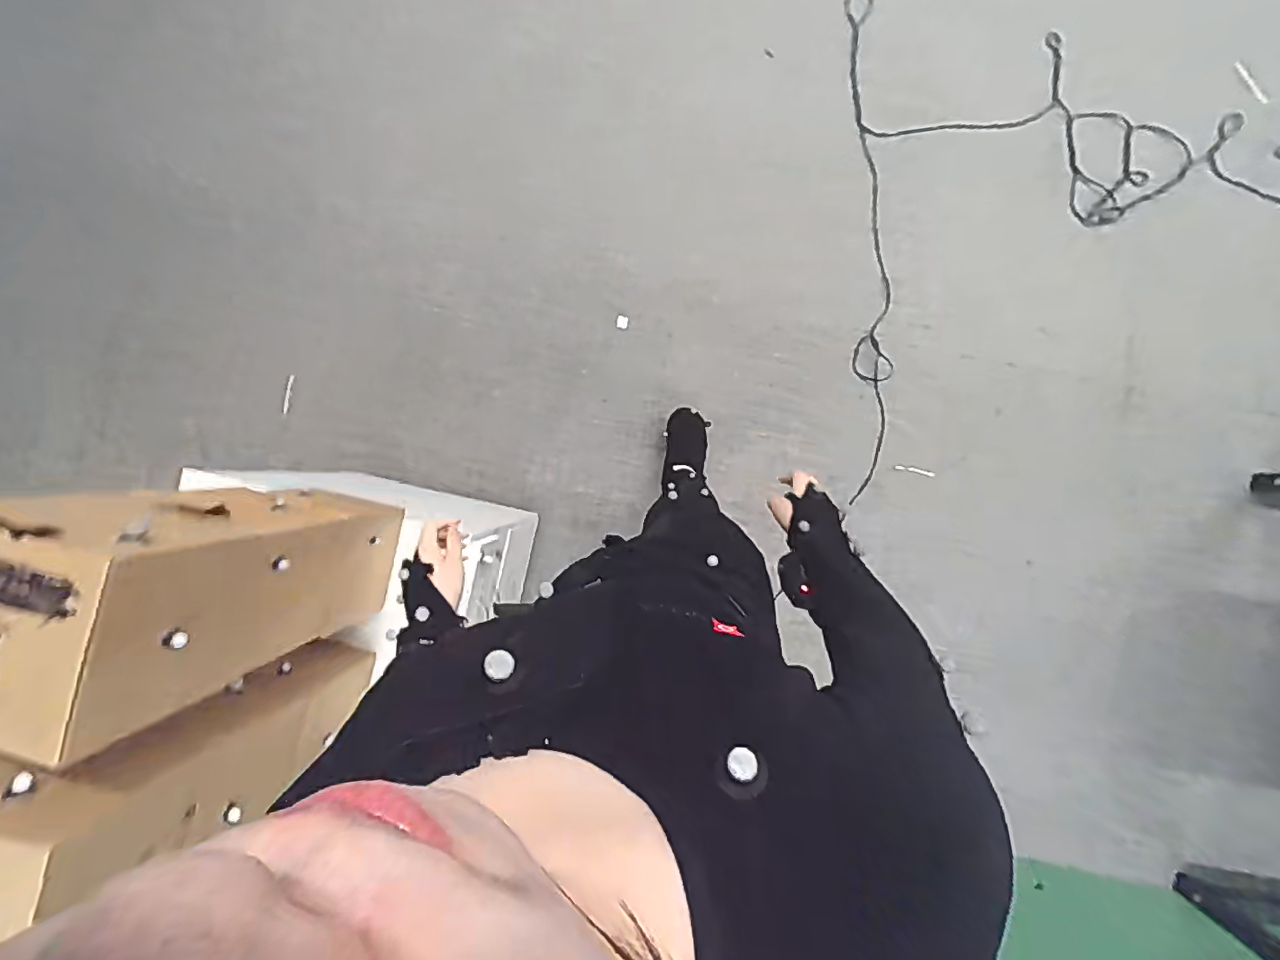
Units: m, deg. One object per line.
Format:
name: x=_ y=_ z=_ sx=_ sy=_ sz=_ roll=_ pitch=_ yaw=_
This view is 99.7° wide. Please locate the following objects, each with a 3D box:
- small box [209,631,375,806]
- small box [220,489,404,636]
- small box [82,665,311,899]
small box: x=-0.540 y=0.355 z=0.835 sx=0.168 sy=0.176 sz=0.179 roll=13 pitch=89 yaw=0
small box: x=-0.489 y=0.115 z=0.832 sx=0.168 sy=0.176 sz=0.179 roll=12 pitch=93 yaw=2
small box: x=-0.546 y=0.355 z=0.669 sx=0.168 sy=0.176 sz=0.179 roll=13 pitch=89 yaw=1
